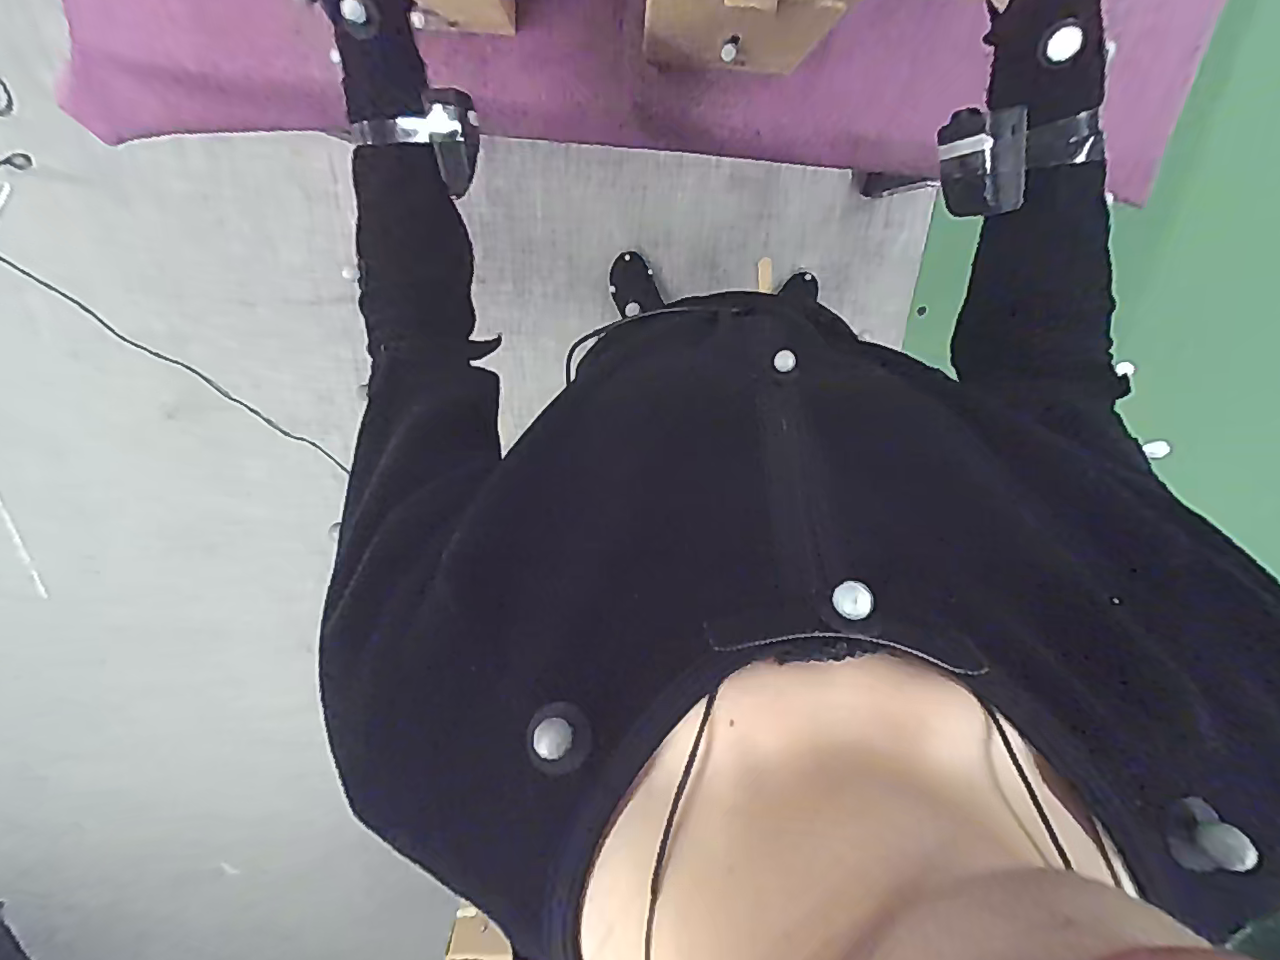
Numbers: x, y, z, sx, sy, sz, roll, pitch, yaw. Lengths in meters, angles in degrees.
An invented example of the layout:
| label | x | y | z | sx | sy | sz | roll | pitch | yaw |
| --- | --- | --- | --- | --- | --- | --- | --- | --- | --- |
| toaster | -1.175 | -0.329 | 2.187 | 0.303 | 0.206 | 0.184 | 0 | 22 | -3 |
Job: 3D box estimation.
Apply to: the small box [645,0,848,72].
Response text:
| label | x | y | z | sx | sy | sz | roll | pitch | yaw |
| --- | --- | --- | --- | --- | --- | --- | --- | --- | --- |
| small box | 0.093 | -0.494 | 0.480 | 0.168 | 0.176 | 0.179 | 3 | 112 | -3 |

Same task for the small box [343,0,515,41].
| label | x | y | z | sx | sy | sz | roll | pitch | yaw |
| --- | --- | --- | --- | --- | --- | --- | --- | --- | --- |
| small box | -0.205 | -0.520 | 0.462 | 0.168 | 0.176 | 0.179 | 3 | 112 | -2 |
